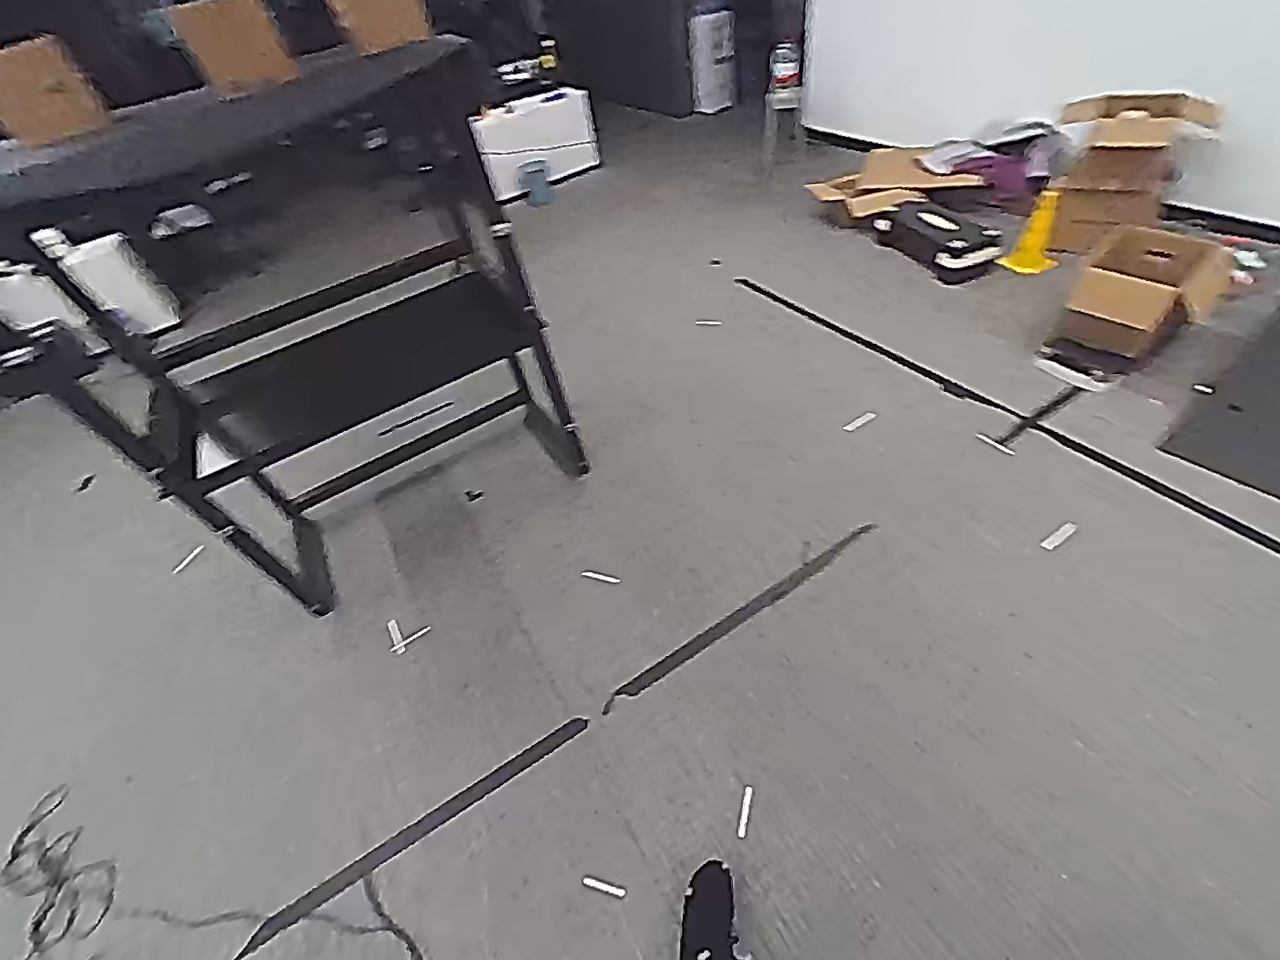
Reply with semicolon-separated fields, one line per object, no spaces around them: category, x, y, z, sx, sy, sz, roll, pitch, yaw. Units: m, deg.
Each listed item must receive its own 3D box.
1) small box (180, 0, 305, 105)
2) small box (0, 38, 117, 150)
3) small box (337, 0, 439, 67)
small box;-0.890;-0.970;1.220;0.168;0.176;0.179;-31;48;-16
small box;-1.360;-0.886;1.240;0.179;0.176;0.168;-32;49;-18
small box;-0.605;-1.102;1.282;0.168;0.176;0.179;-30;48;-15
